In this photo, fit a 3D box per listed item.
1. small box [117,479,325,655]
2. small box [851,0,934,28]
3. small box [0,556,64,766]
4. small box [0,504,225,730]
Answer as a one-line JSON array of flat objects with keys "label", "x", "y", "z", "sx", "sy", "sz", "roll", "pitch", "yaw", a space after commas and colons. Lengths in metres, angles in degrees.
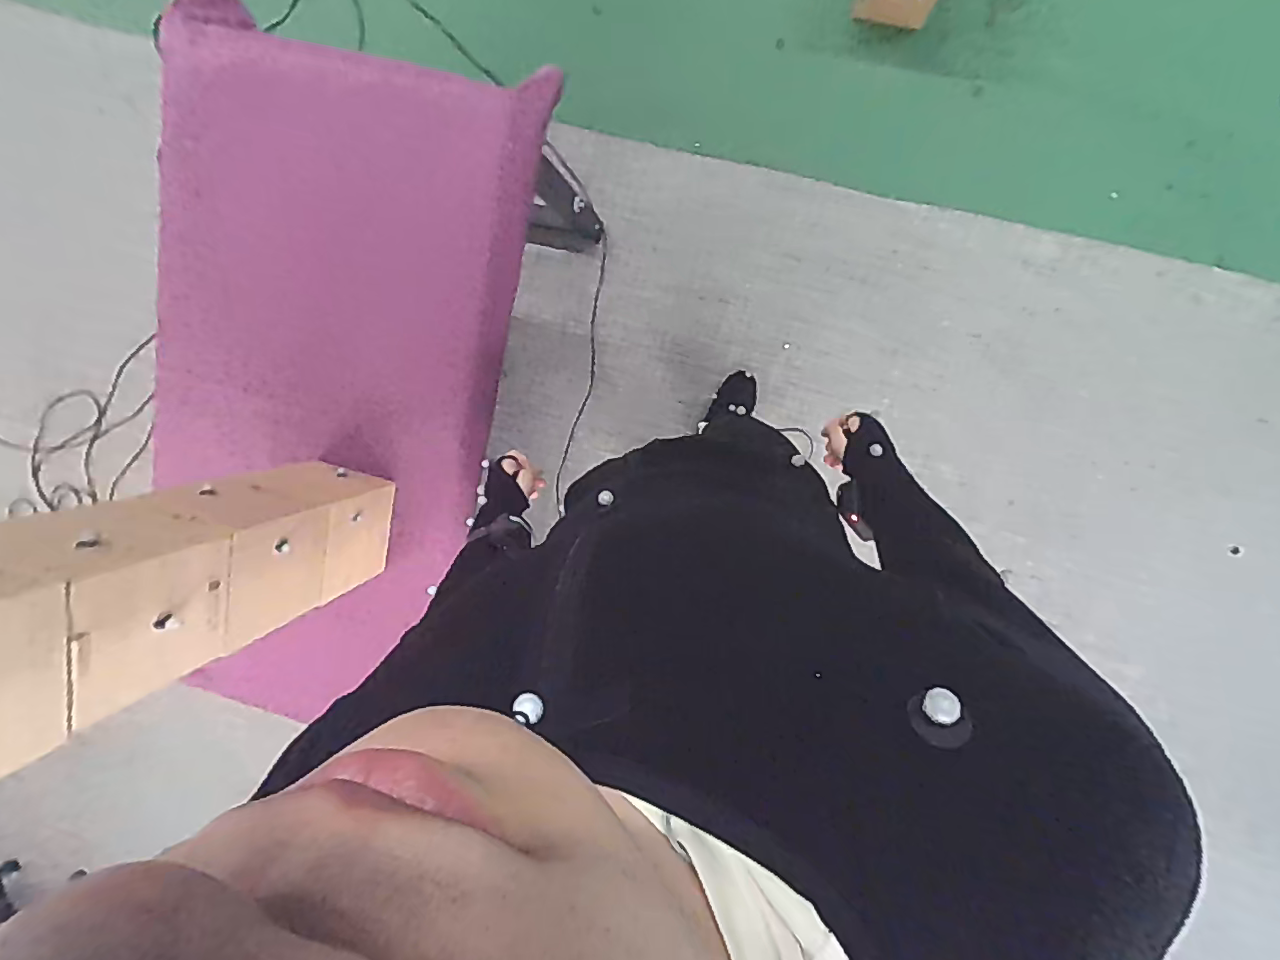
[{"label": "small box", "x": -0.575, "y": 0.108, "z": 0.757, "sx": 0.168, "sy": 0.176, "sz": 0.179, "roll": 15, "pitch": 102, "yaw": 7}, {"label": "small box", "x": 0.608, "y": -1.183, "z": 1.235, "sx": 0.179, "sy": 0.176, "sz": 0.168, "roll": 16, "pitch": 103, "yaw": 6}, {"label": "small box", "x": -0.630, "y": 0.163, "z": 0.438, "sx": 0.168, "sy": 0.176, "sz": 0.179, "roll": 14, "pitch": 101, "yaw": 7}, {"label": "small box", "x": -0.607, "y": 0.135, "z": 0.599, "sx": 0.179, "sy": 0.176, "sz": 0.168, "roll": 14, "pitch": 101, "yaw": 6}]
